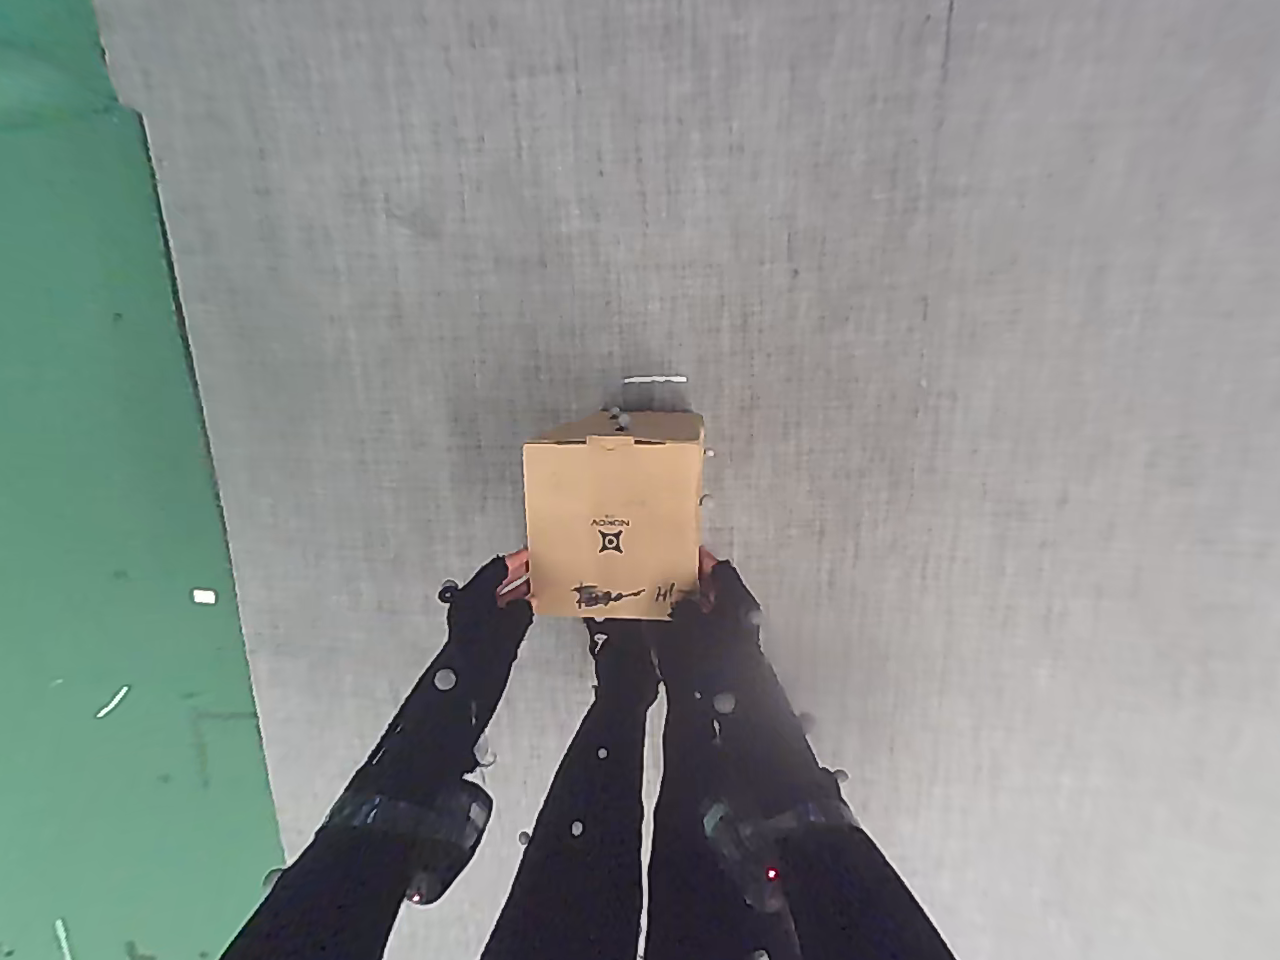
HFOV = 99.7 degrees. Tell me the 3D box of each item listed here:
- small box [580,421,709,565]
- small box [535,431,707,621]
[{"bbox_3d":[0.011,0.009,0.757,0.168,0.176,0.179,1,102,7],"label":"small box"},{"bbox_3d":[-0.012,0.038,0.597,0.168,0.176,0.179,1,100,6],"label":"small box"}]
